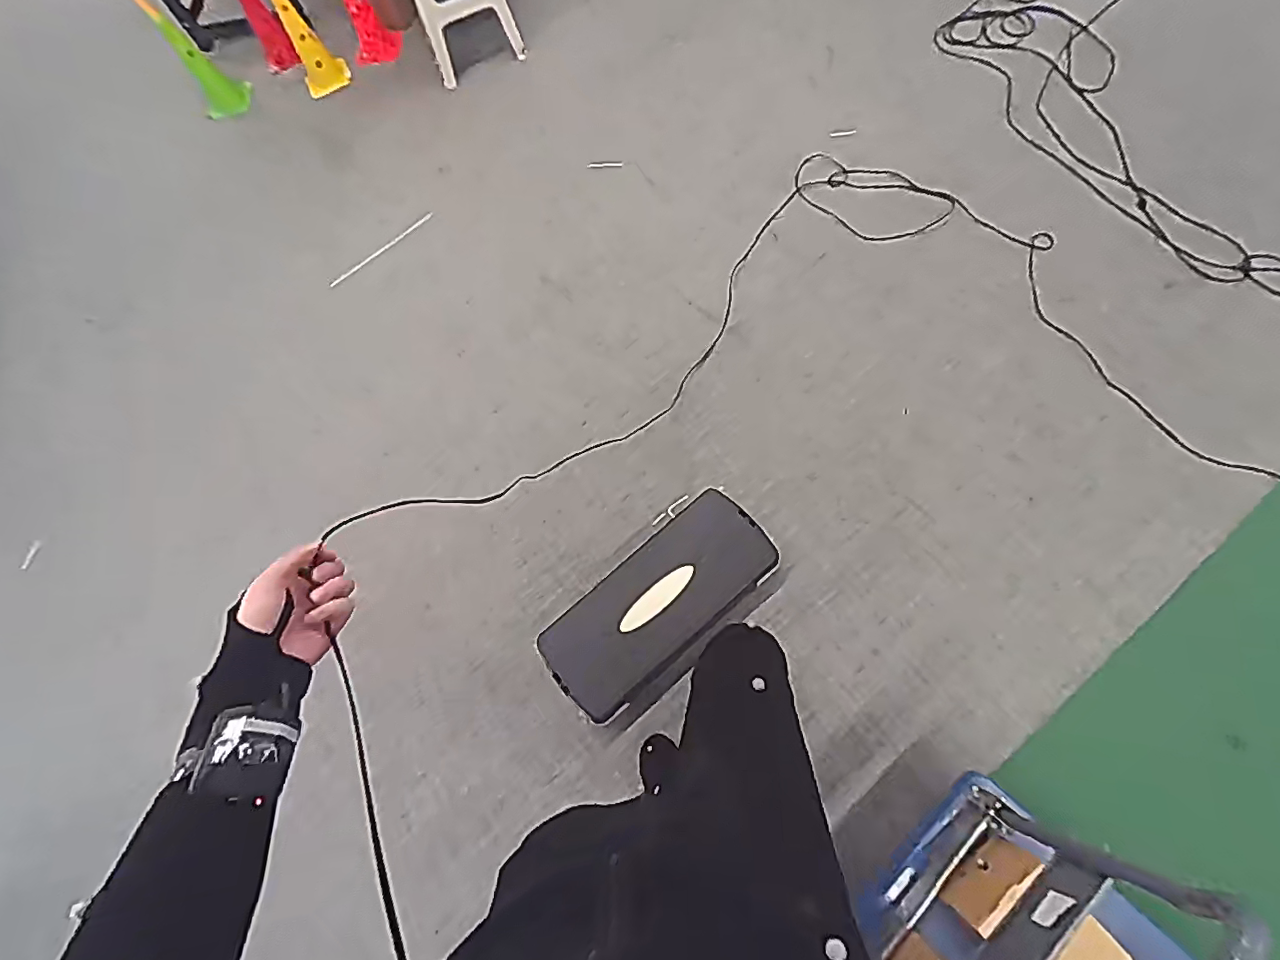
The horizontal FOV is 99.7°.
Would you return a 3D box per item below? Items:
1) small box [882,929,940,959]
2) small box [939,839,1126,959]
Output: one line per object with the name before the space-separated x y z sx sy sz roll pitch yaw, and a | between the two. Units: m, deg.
small box | 0.503 0.941 0.932 0.168 0.176 0.179 39 79 19
small box | 0.684 0.792 0.965 0.168 0.176 0.179 -39 69 -6
